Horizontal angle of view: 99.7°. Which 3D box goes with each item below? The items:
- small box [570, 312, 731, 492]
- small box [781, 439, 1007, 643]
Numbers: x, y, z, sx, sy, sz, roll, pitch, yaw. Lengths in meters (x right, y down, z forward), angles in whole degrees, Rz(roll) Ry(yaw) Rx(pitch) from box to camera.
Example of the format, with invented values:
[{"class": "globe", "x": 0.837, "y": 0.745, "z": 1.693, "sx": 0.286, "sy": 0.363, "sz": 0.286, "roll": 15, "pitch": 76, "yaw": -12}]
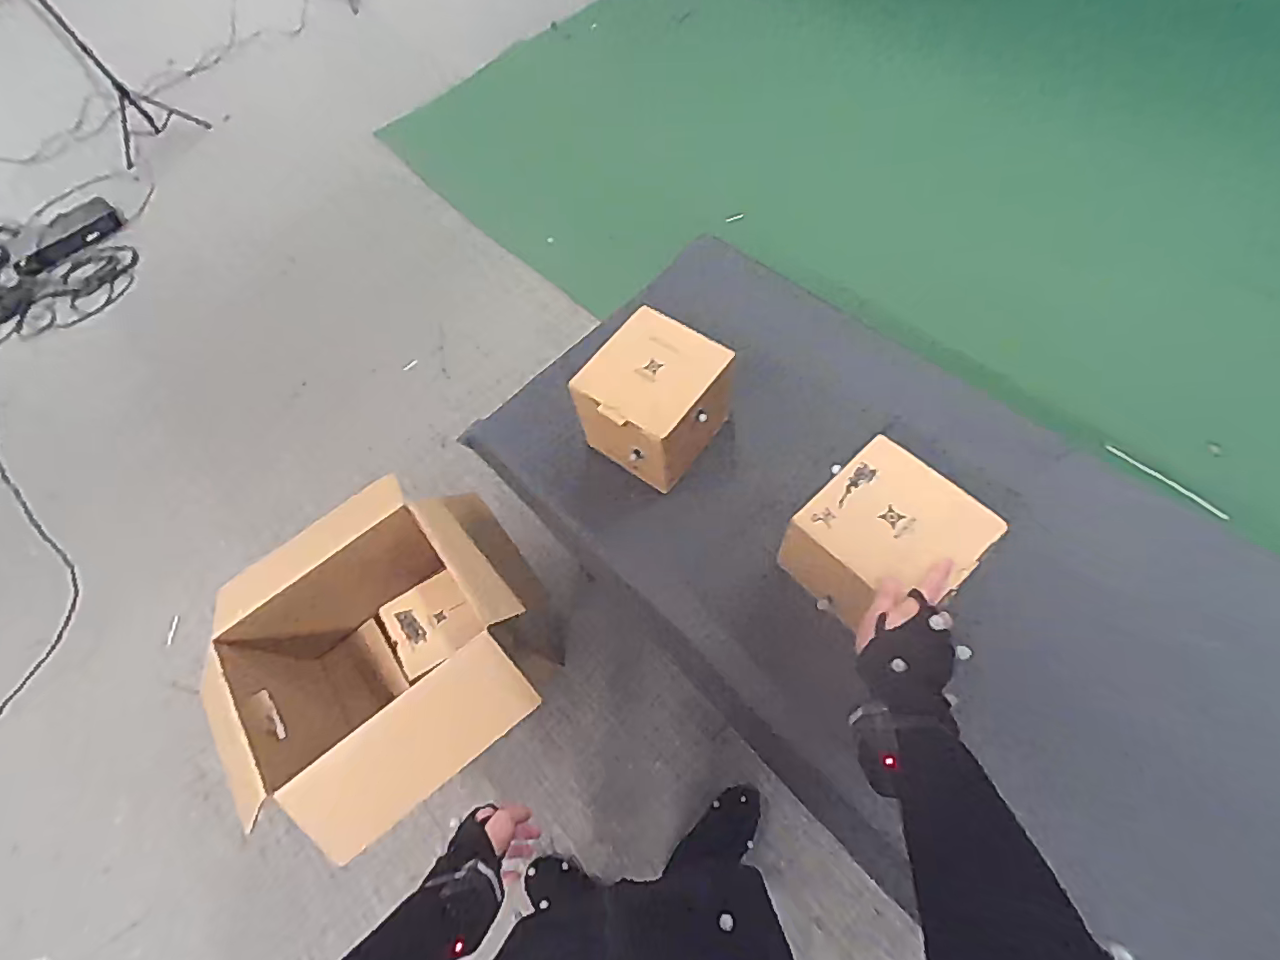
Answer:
[{"class": "small box", "x": 0.023, "y": -0.112, "z": 0.826, "sx": 0.168, "sy": 0.176, "sz": 0.179, "roll": 33, "pitch": 70, "yaw": 19}, {"class": "small box", "x": 0.304, "y": 0.087, "z": 0.689, "sx": 0.168, "sy": 0.176, "sz": 0.179, "roll": -41, "pitch": 66, "yaw": -13}]
